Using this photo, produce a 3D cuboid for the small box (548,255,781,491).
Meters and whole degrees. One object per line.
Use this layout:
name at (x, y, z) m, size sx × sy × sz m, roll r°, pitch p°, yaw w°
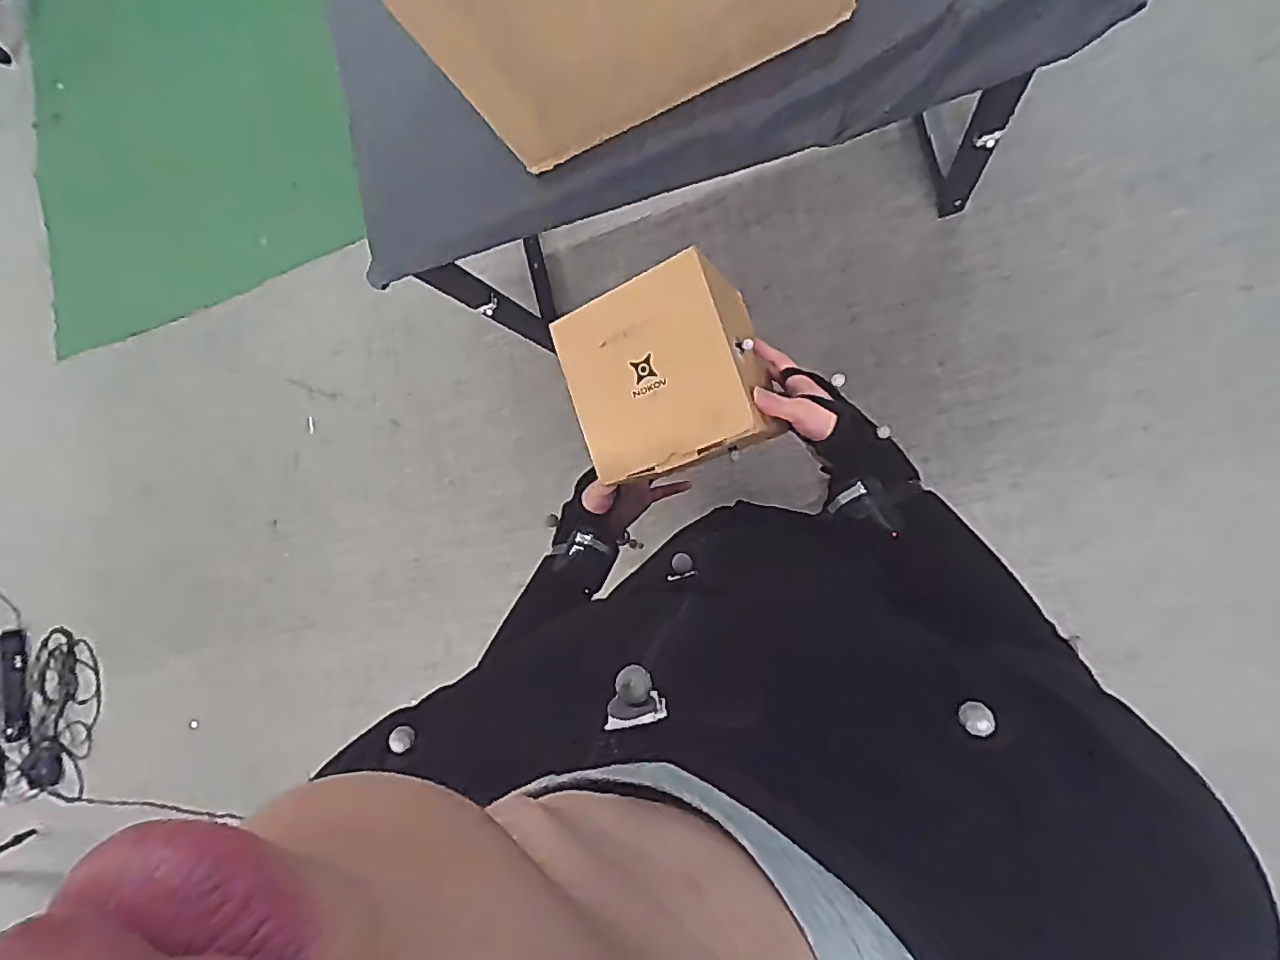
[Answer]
small box at (0.036, -0.101, 0.576) m, size 0.168 × 0.176 × 0.179 m, roll -20°, pitch 85°, yaw 25°
